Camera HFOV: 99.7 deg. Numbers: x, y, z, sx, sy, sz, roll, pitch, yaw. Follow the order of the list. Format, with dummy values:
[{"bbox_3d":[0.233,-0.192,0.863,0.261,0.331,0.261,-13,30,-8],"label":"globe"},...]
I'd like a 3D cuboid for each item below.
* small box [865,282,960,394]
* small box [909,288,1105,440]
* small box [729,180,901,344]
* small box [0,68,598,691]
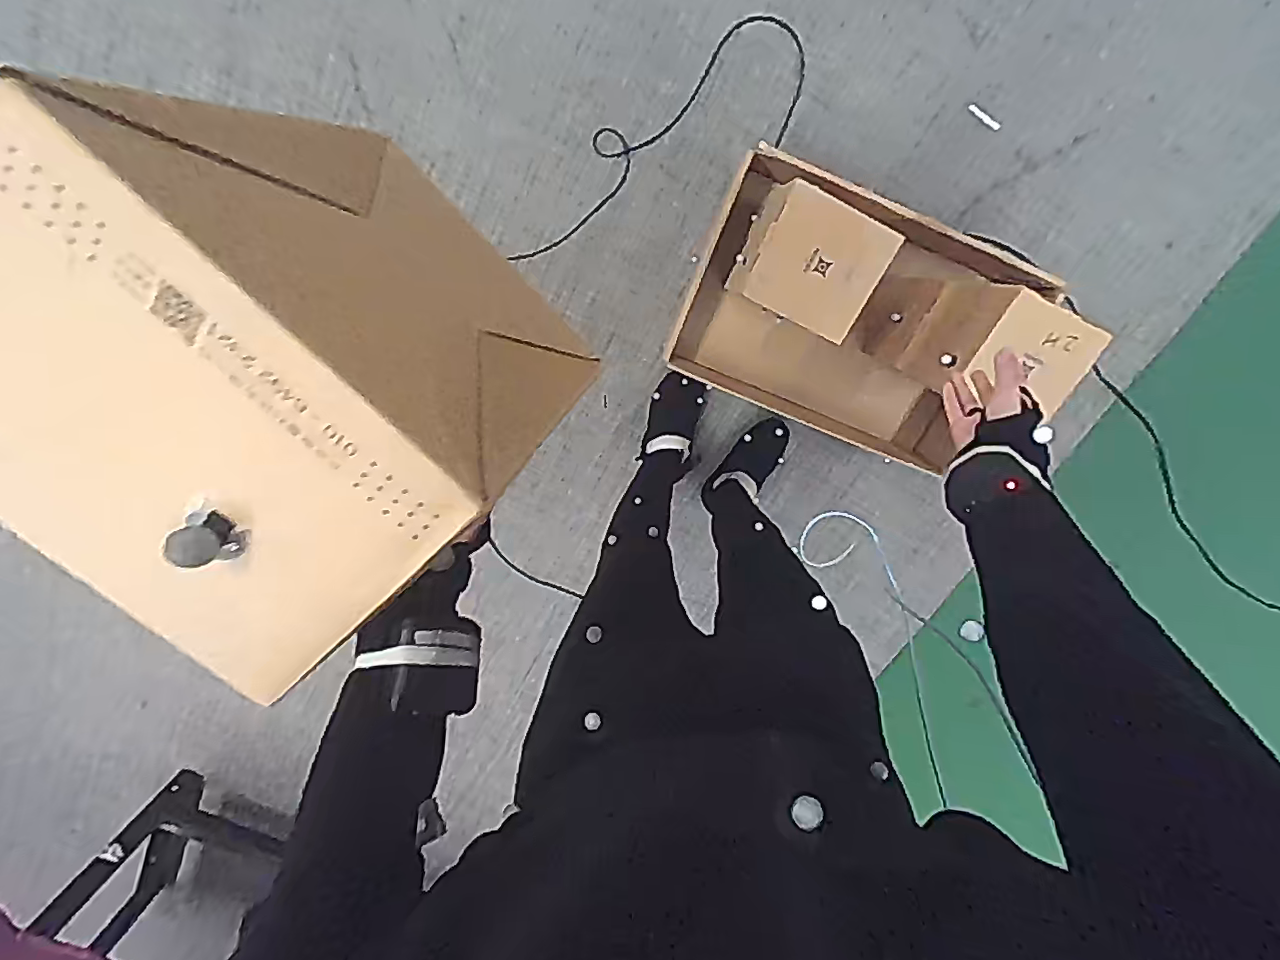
[{"bbox_3d":[0.567,-0.261,1.034,0.179,0.176,0.168,25,110,-7],"label":"small box"},{"bbox_3d":[0.575,-0.195,0.882,0.168,0.176,0.179,25,109,-8],"label":"small box"},{"bbox_3d":[0.255,-0.332,0.842,0.179,0.176,0.168,25,111,-8],"label":"small box"},{"bbox_3d":[-0.146,-0.047,0.255,0.168,0.179,0.176,44,117,-13],"label":"small box"}]
